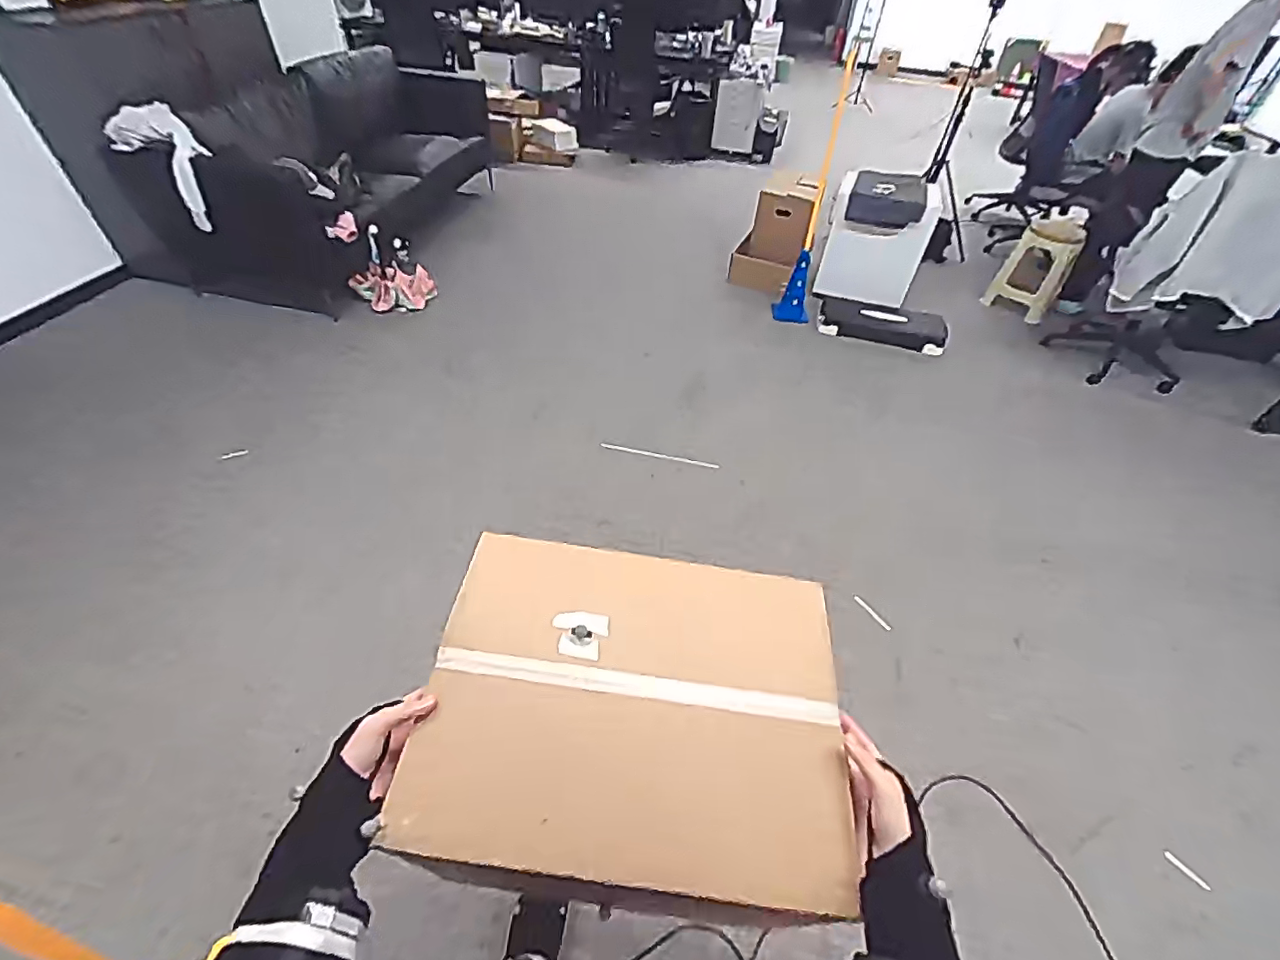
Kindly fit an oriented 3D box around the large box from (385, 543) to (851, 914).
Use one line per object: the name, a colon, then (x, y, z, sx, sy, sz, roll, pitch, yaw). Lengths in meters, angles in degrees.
large box: (-0.015, 0.310, 0.661, 0.408, 0.320, 0.320, 8, 48, 0)
